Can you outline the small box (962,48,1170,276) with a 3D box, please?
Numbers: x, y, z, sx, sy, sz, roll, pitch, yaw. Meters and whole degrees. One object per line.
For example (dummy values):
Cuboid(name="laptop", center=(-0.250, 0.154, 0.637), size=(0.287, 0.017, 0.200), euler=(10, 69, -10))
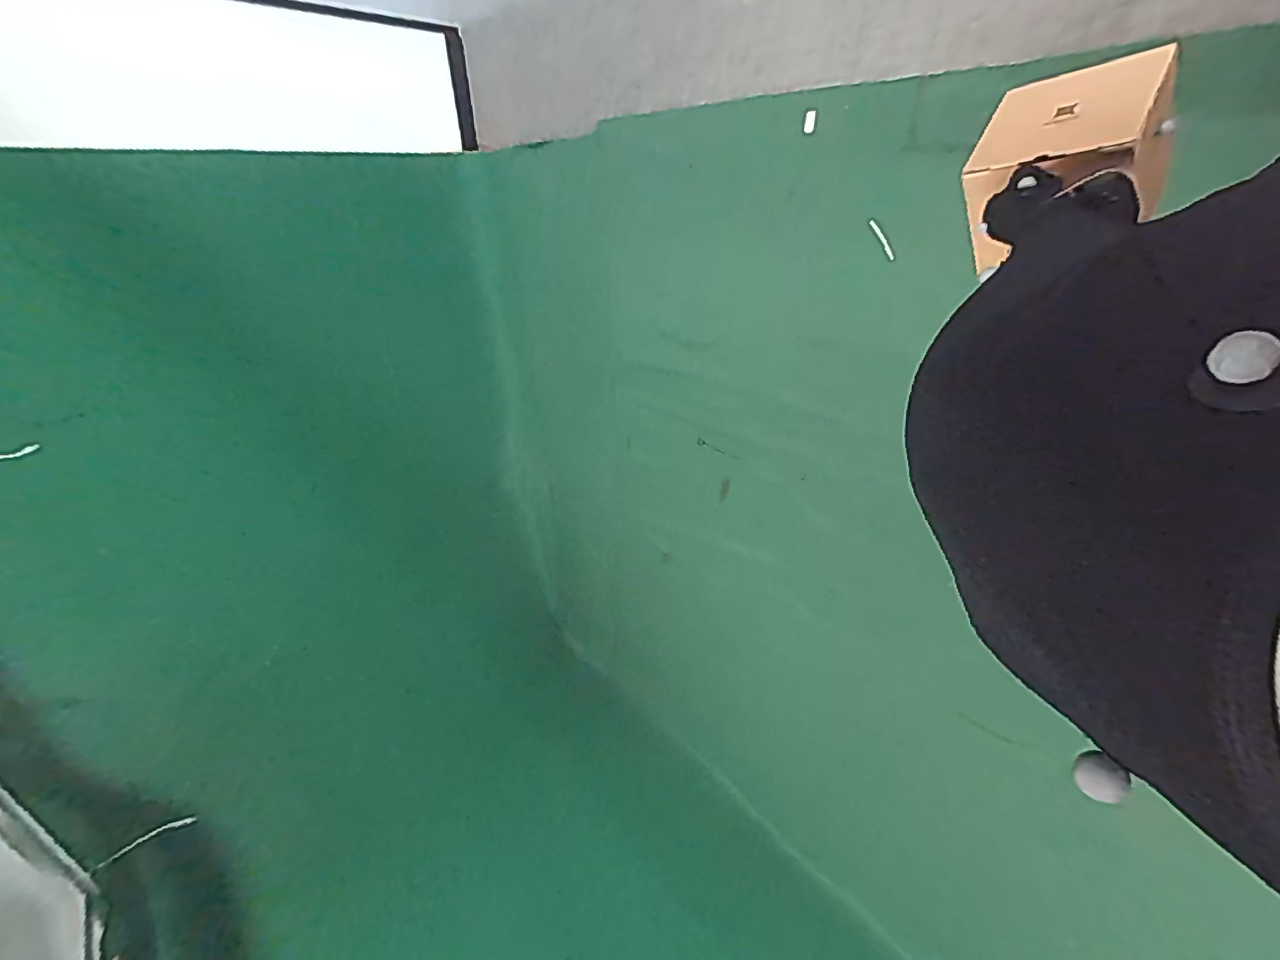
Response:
Cuboid(name="small box", center=(0.542, -0.392, 0.697), size=(0.168, 0.179, 0.176), euler=(15, 157, 46))
